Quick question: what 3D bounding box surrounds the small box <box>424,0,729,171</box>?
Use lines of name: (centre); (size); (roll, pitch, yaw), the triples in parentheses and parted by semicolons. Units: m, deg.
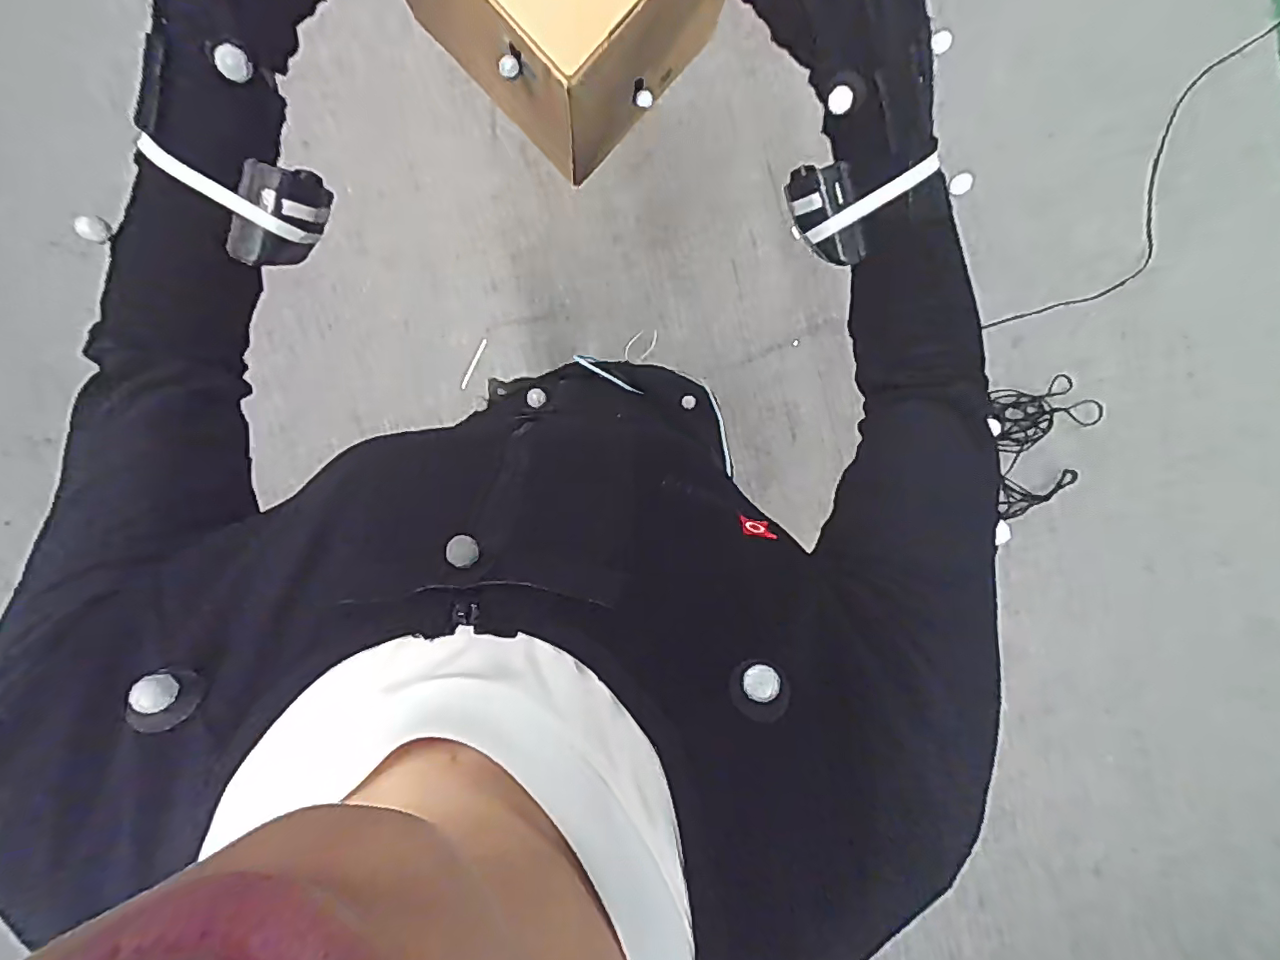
small box: (-0.046, -0.351, 0.358); (0.179, 0.176, 0.168); (43, 94, -13)
